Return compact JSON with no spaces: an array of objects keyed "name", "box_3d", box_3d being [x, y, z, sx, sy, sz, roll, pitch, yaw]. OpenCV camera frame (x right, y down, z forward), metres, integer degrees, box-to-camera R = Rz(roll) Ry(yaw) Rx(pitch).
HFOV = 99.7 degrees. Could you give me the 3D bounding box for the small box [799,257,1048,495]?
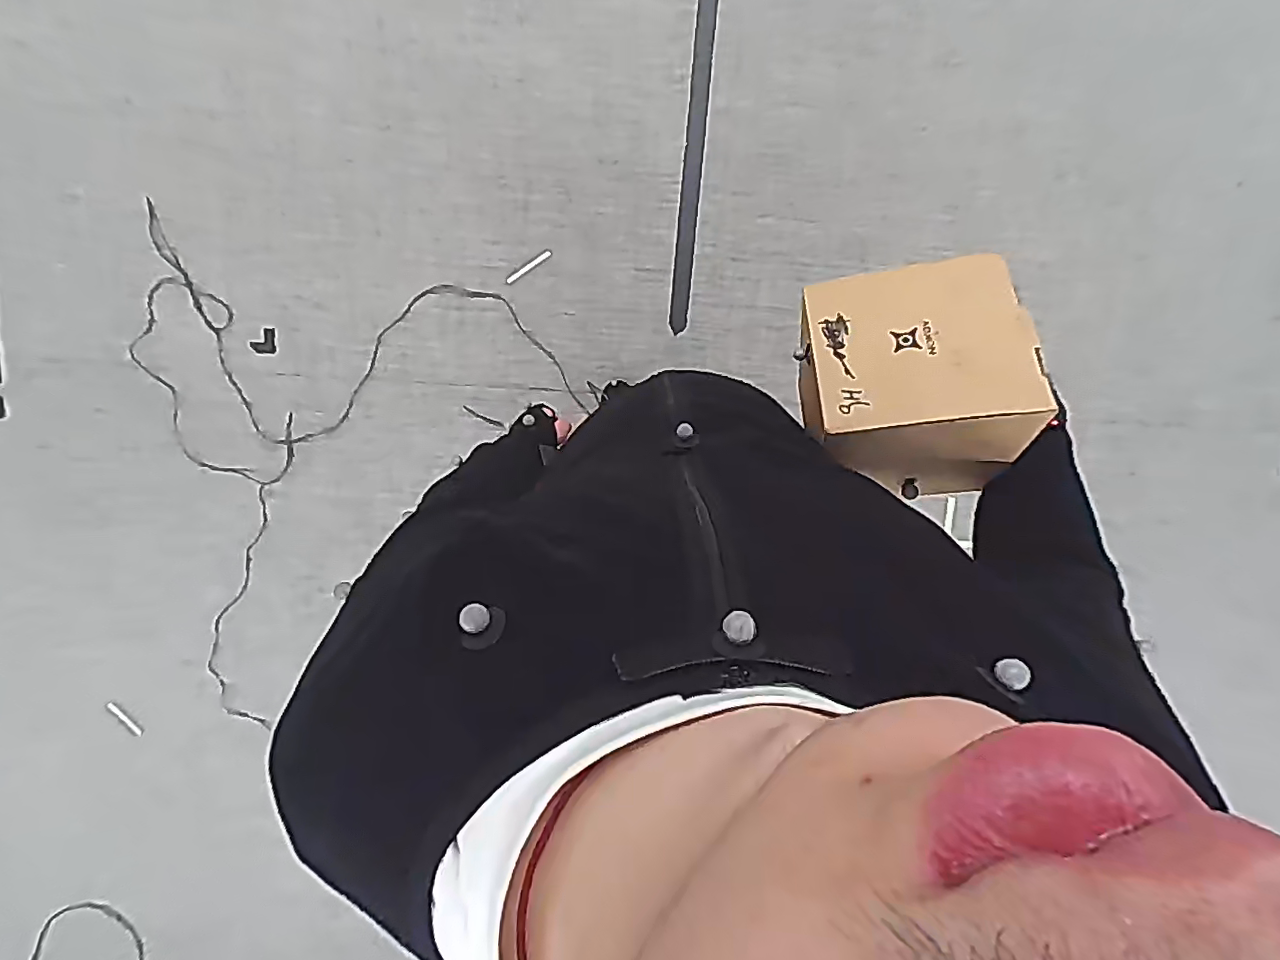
[{"name":"small box","box_3d":[0.264,-0.093,0.555,0.179,0.176,0.168,-5,65,12]}]
